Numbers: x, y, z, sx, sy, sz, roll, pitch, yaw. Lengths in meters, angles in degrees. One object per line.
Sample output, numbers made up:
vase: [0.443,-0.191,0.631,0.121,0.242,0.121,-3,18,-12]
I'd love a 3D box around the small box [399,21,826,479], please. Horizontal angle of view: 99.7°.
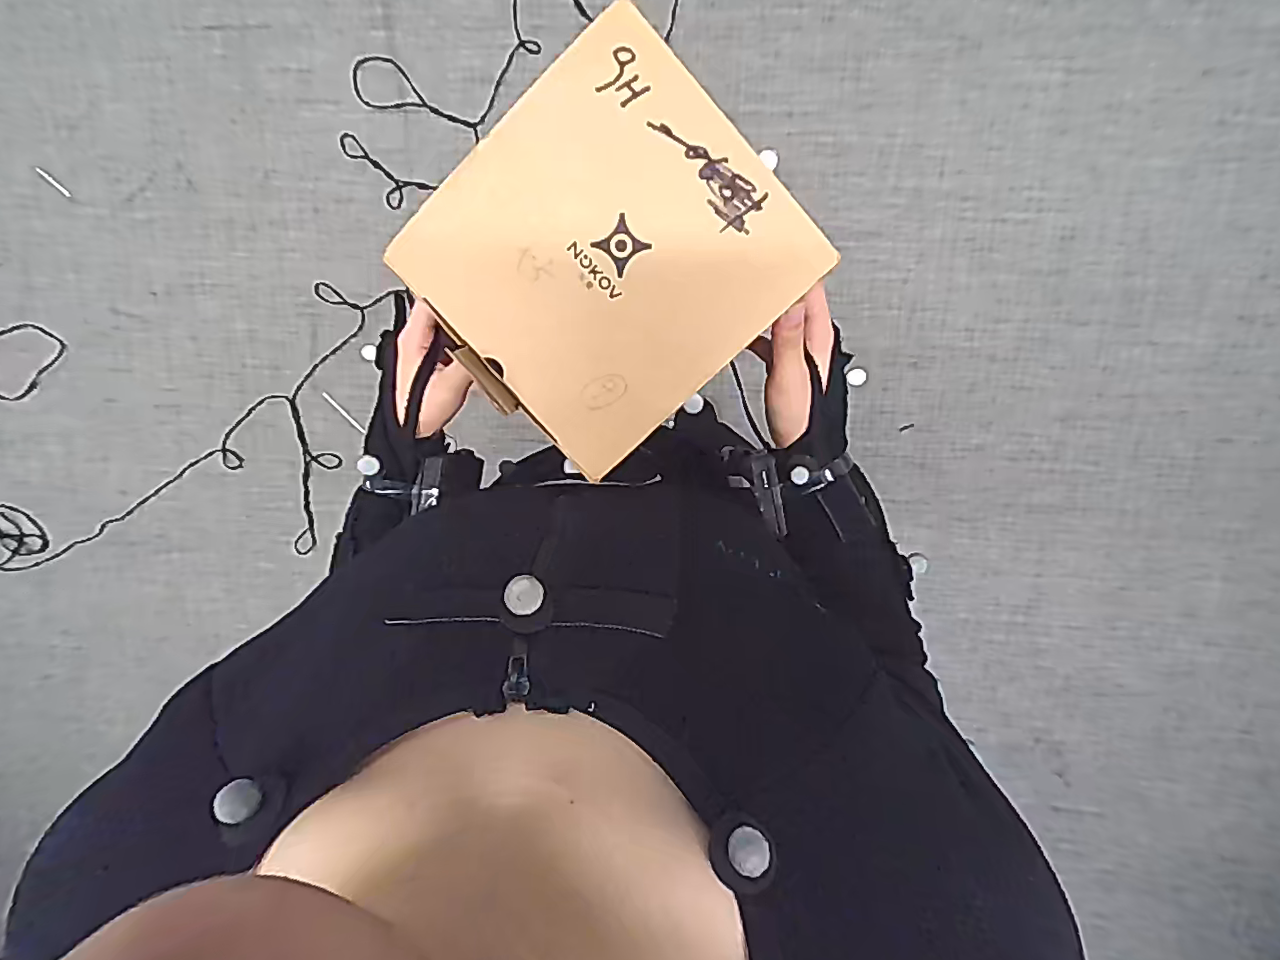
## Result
small box: [-0.012,-0.127,0.366,0.179,0.176,0.168,-42,96,9]
